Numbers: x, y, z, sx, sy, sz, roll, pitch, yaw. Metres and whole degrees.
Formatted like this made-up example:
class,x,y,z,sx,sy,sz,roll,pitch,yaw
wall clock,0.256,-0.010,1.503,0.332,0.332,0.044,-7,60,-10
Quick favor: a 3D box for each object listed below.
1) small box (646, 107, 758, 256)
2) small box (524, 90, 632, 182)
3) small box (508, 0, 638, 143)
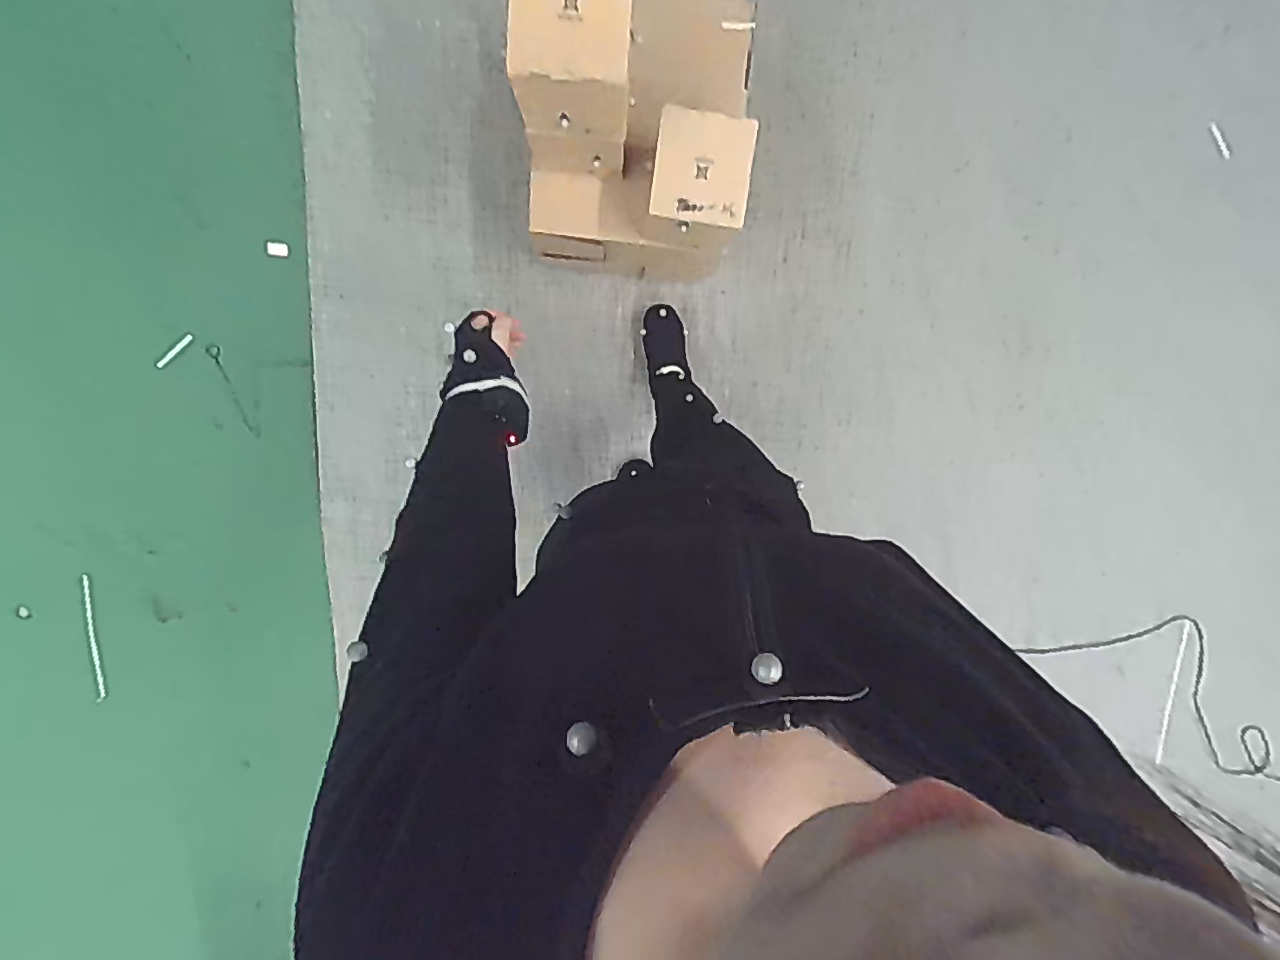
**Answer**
class,x,y,z,sx,sy,sz,roll,pitch,yaw
small box,0.103,-0.531,0.987,0.168,0.176,0.179,7,97,-3
small box,-0.103,-0.660,0.964,0.168,0.176,0.179,5,97,-3
small box,-0.093,-0.639,0.801,0.168,0.176,0.179,5,100,-3
